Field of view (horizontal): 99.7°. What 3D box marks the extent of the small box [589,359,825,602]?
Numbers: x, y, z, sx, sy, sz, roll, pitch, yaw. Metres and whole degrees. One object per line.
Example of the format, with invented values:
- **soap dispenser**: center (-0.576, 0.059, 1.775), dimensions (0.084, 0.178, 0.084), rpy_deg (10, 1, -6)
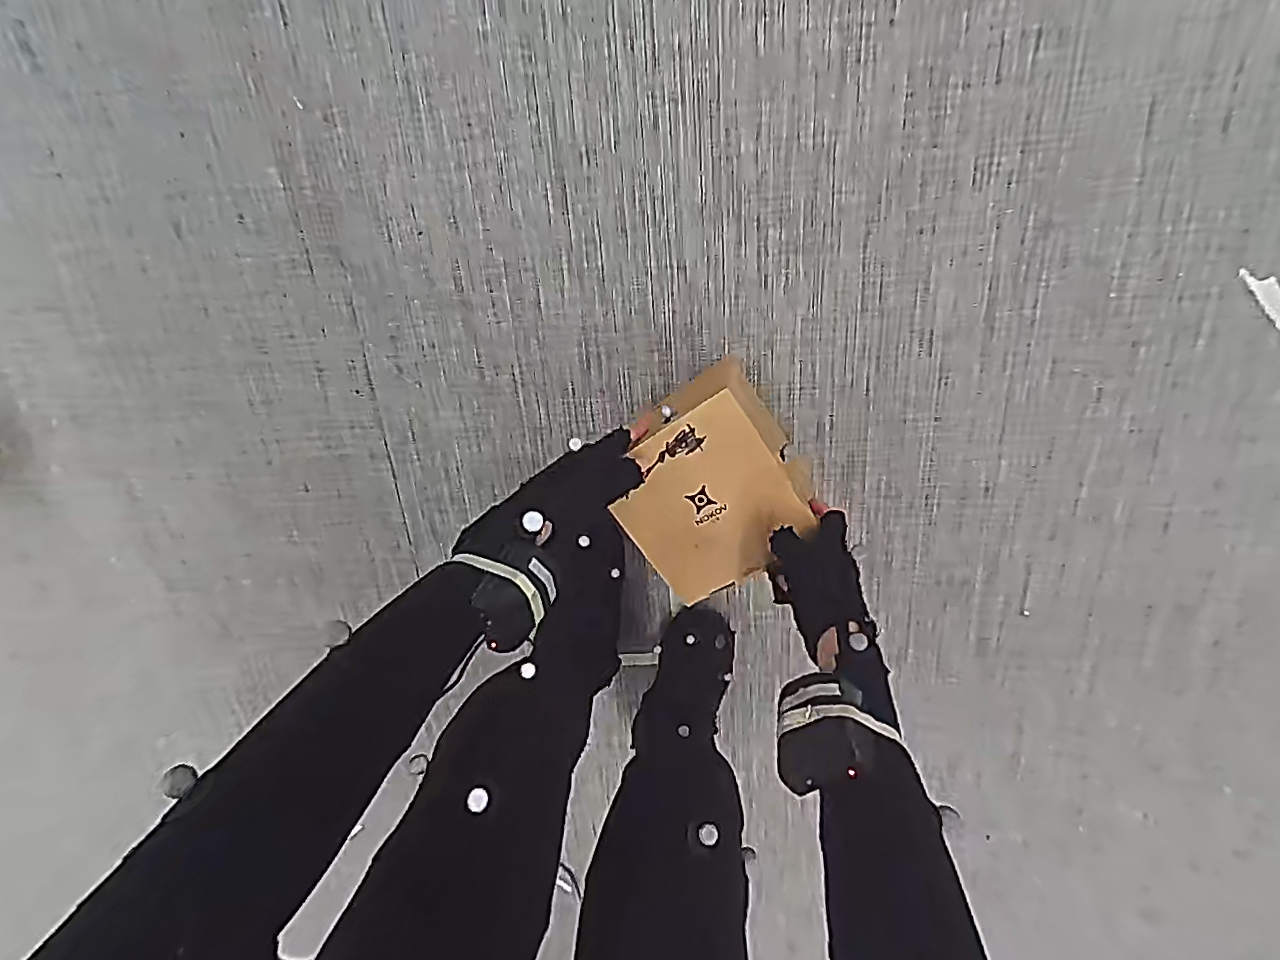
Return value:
- **small box**: center (0.076, -0.008, 0.589), dimensions (0.168, 0.176, 0.179), rpy_deg (-33, 103, 20)
